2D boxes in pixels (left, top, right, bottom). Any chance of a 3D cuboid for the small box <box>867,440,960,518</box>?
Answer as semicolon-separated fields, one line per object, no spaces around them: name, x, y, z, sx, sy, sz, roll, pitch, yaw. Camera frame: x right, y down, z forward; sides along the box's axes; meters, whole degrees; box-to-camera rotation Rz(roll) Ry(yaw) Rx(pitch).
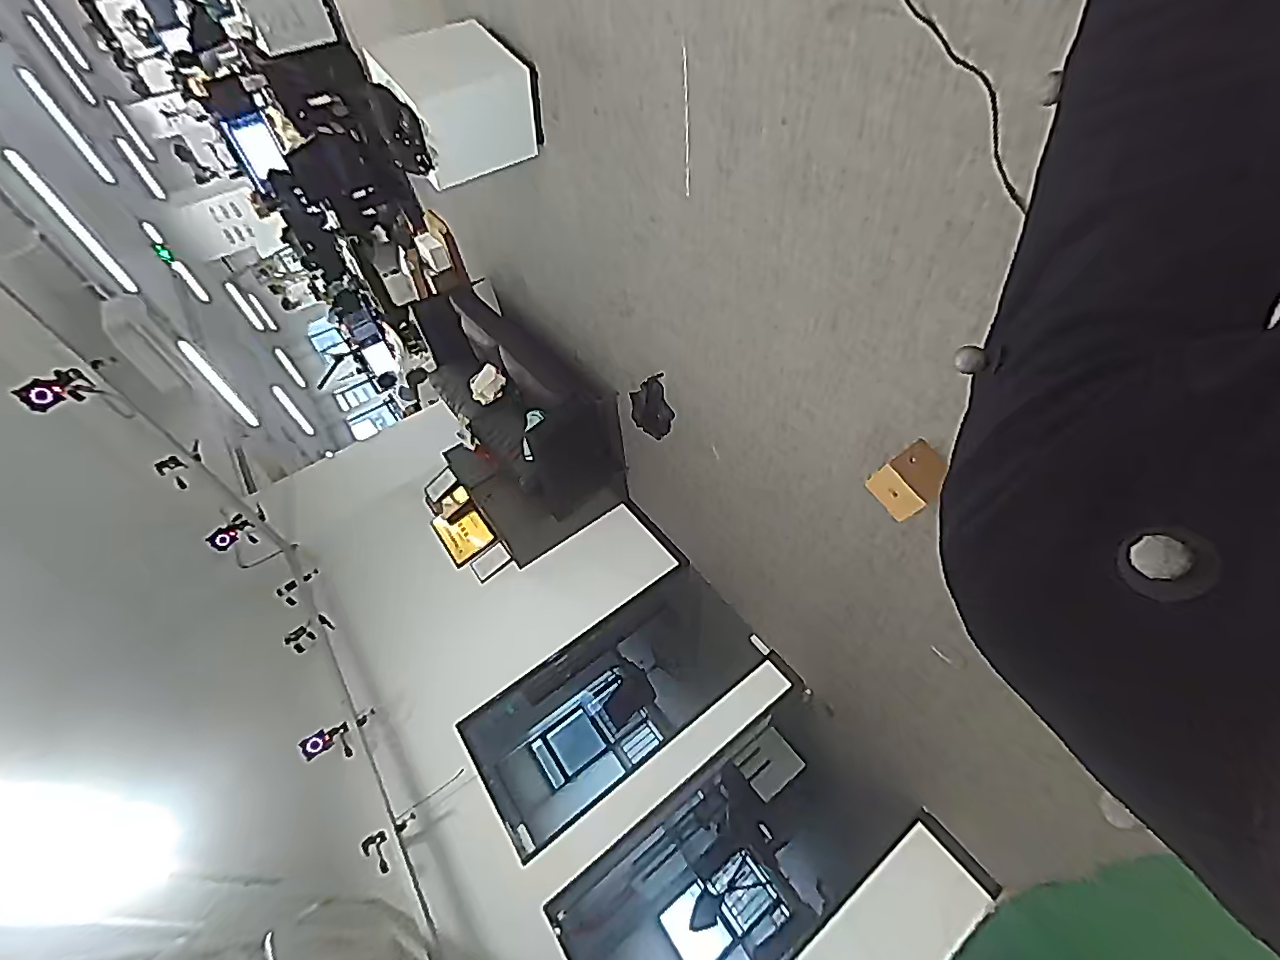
small box;0.898;-0.009;1.780;0.179;0.176;0.168;51;161;16
